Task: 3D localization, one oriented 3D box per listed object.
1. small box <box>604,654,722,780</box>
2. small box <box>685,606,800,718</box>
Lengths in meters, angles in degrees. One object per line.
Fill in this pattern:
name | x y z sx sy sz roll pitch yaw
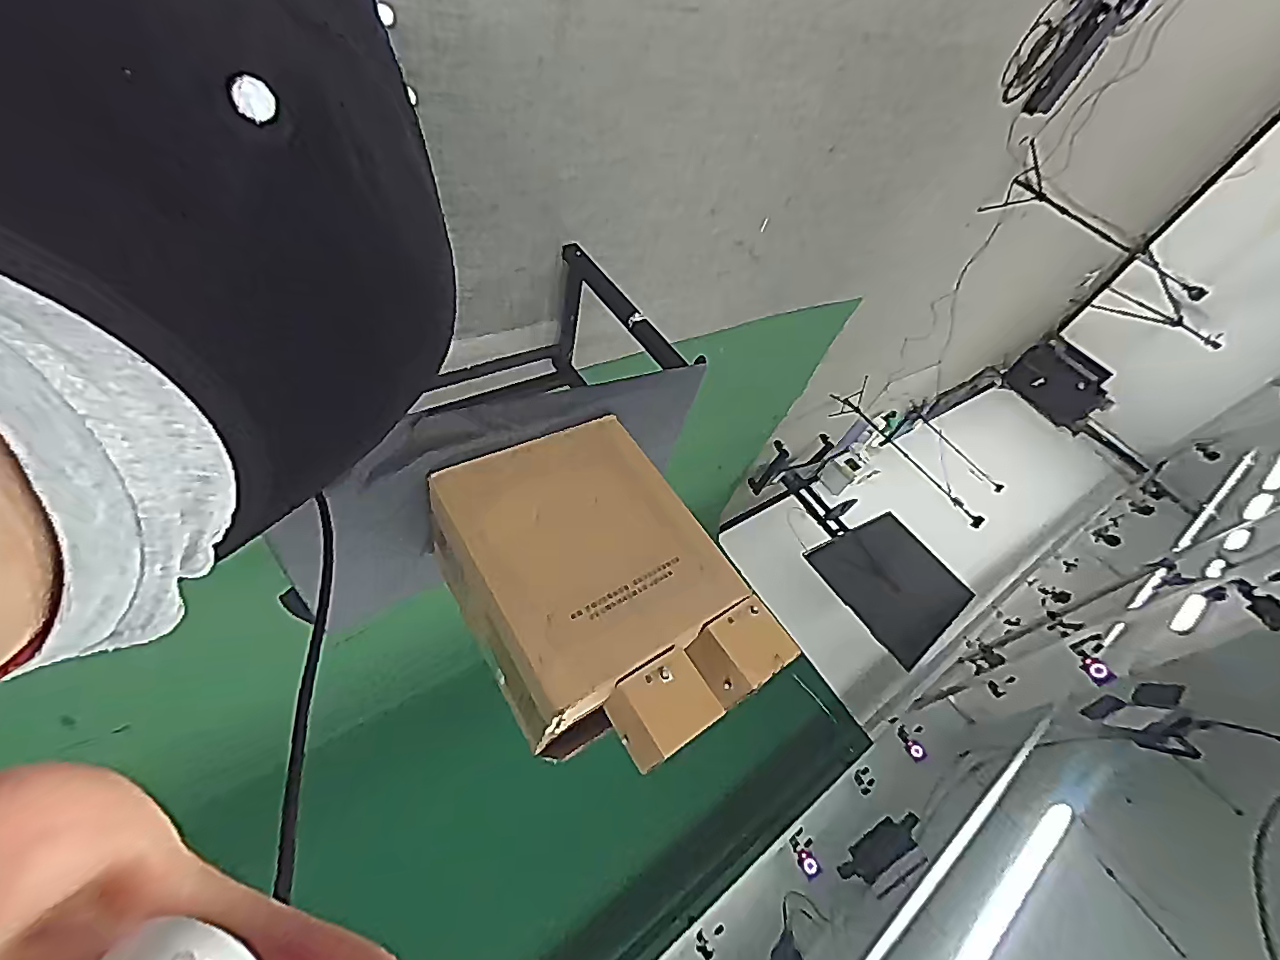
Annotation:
small box | 0.041 0.503 1.158 0.168 0.176 0.179 -23 152 -30
small box | 0.233 0.421 1.277 0.168 0.176 0.179 -23 153 -32
